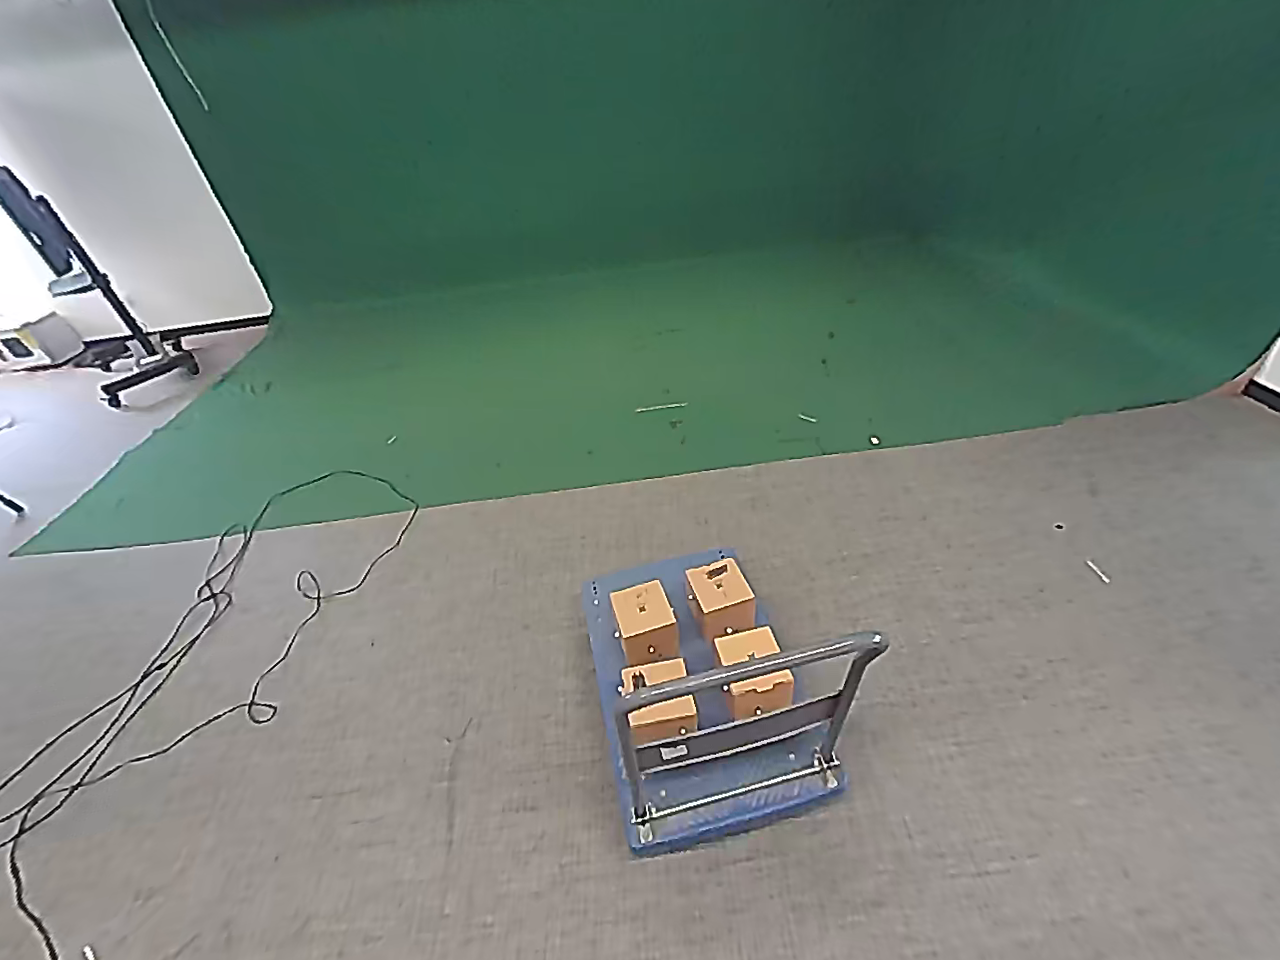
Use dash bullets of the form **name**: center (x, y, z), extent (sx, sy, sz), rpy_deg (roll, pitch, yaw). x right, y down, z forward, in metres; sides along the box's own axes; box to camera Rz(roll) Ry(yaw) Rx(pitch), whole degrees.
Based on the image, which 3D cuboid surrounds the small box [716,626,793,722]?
- **small box**: center (0.316, 0.550, 1.535), extent (0.168, 0.176, 0.179), rpy_deg (-12, 40, -6)

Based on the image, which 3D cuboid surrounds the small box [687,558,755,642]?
- **small box**: center (0.257, 0.387, 1.743), extent (0.168, 0.176, 0.179), rpy_deg (-15, 40, -8)

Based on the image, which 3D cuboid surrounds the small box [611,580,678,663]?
- **small box**: center (0.017, 0.453, 1.703), extent (0.168, 0.176, 0.179), rpy_deg (-14, 39, -9)
